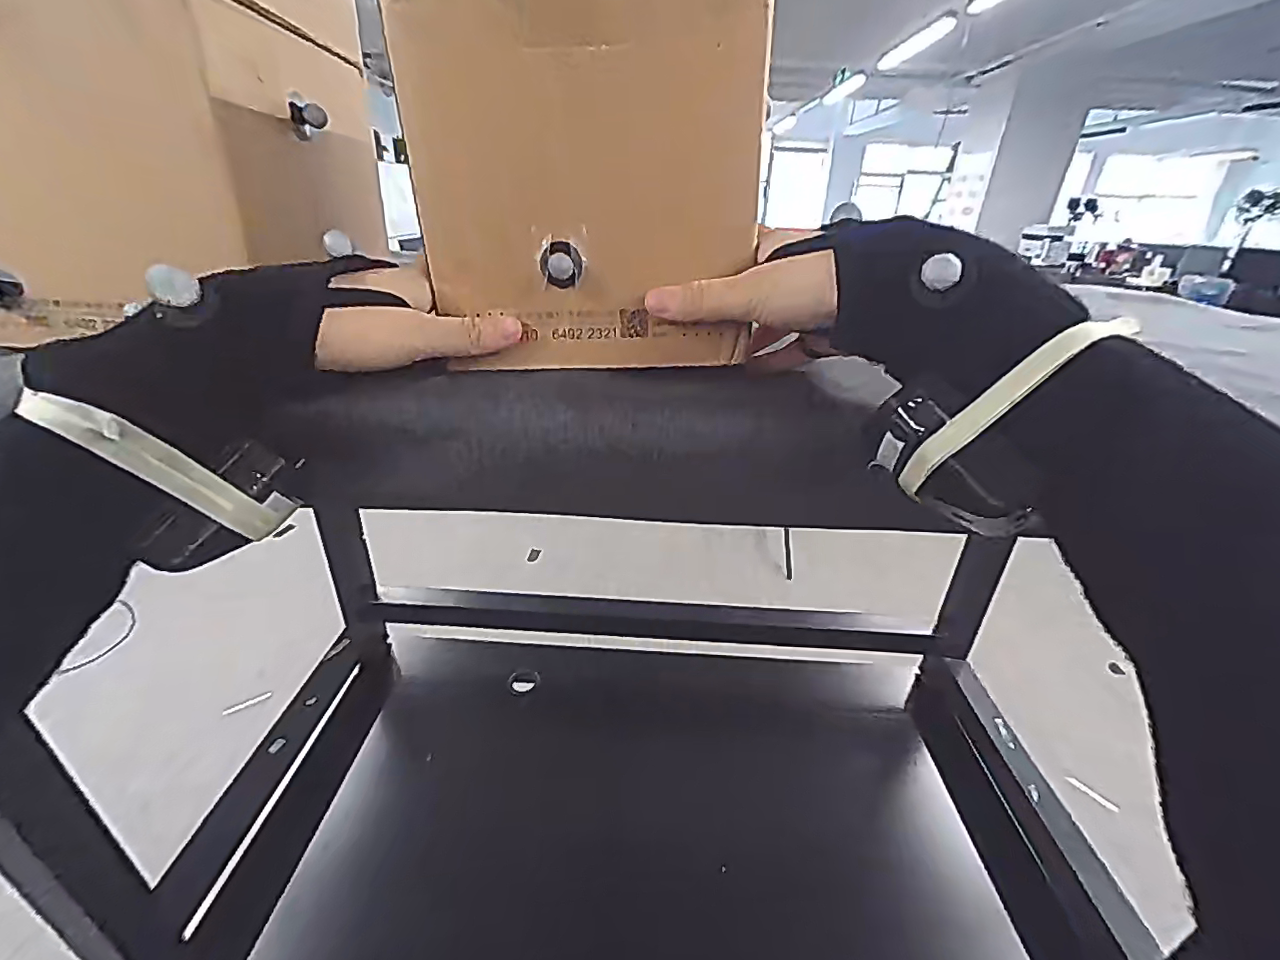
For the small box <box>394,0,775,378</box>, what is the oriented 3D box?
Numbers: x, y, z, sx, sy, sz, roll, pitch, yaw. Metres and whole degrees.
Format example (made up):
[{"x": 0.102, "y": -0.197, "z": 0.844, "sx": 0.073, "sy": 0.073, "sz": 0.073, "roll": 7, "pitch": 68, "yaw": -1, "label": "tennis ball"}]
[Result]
[{"x": -0.022, "y": -0.167, "z": 0.334, "sx": 0.168, "sy": 0.176, "sz": 0.179, "roll": -1, "pitch": 26, "yaw": 1, "label": "small box"}]

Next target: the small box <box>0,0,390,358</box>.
[{"x": -0.275, "y": -0.177, "z": 0.334, "sx": 0.168, "sy": 0.176, "sz": 0.179, "roll": 3, "pitch": 25, "yaw": -2, "label": "small box"}]
